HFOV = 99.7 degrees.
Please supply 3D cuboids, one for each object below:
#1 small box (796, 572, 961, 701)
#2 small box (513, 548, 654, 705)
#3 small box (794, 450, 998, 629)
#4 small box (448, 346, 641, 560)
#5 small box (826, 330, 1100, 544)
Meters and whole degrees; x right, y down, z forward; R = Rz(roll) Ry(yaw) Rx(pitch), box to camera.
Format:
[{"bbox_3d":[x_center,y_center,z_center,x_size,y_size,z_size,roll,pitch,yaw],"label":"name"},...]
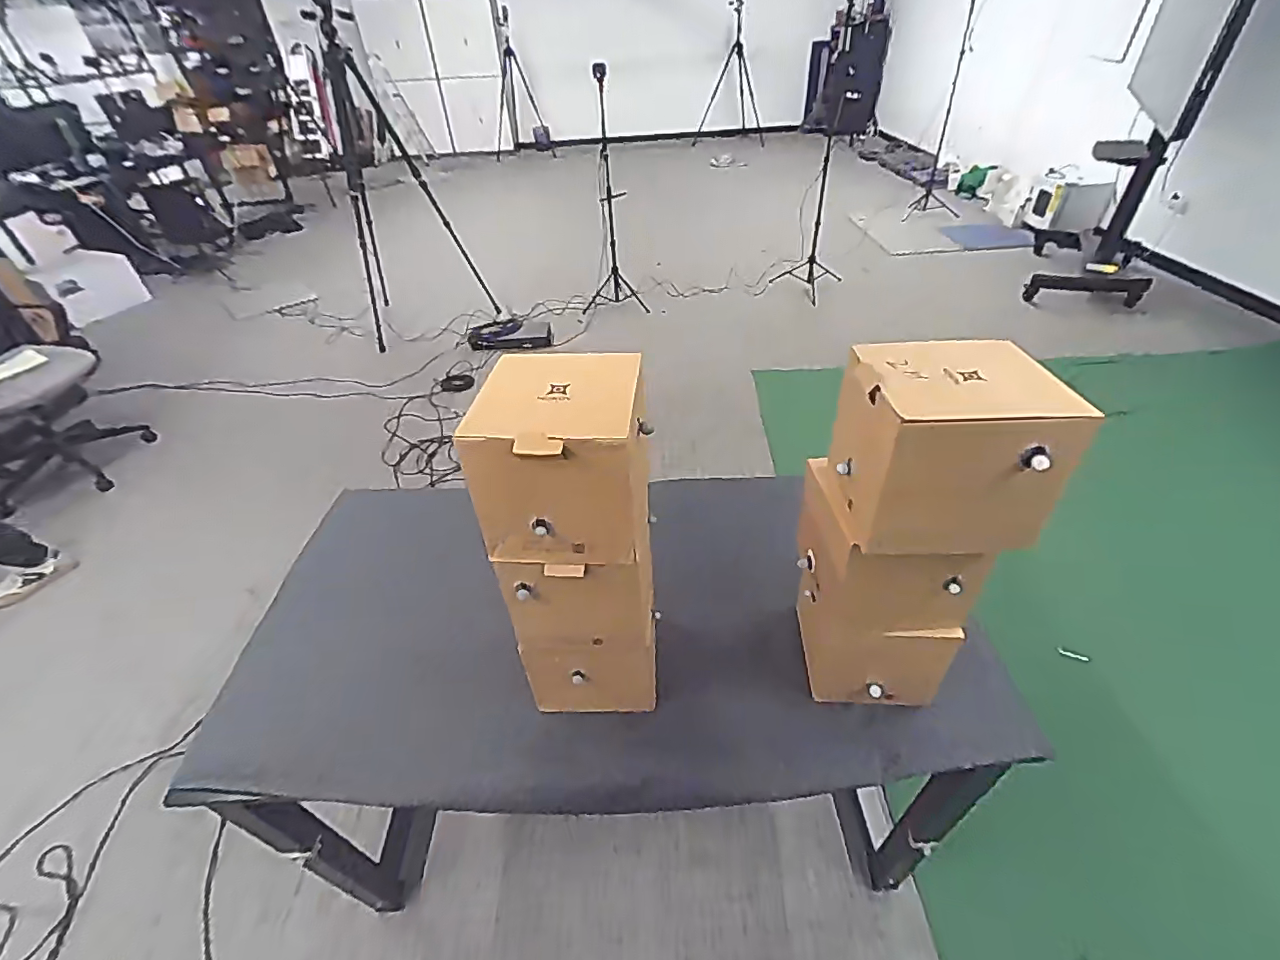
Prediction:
[{"bbox_3d":[0.332,0.197,0.796,0.168,0.176,0.179,0,39,6],"label":"small box"},{"bbox_3d":[-0.072,0.220,0.808,0.179,0.176,0.168,-2,40,3],"label":"small box"},{"bbox_3d":[0.311,0.071,0.695,0.179,0.176,0.168,-6,37,1],"label":"small box"},{"bbox_3d":[-0.087,-0.034,0.601,0.168,0.176,0.179,1,39,4],"label":"small box"},{"bbox_3d":[0.315,-0.045,0.575,0.179,0.176,0.168,-2,37,4],"label":"small box"}]
